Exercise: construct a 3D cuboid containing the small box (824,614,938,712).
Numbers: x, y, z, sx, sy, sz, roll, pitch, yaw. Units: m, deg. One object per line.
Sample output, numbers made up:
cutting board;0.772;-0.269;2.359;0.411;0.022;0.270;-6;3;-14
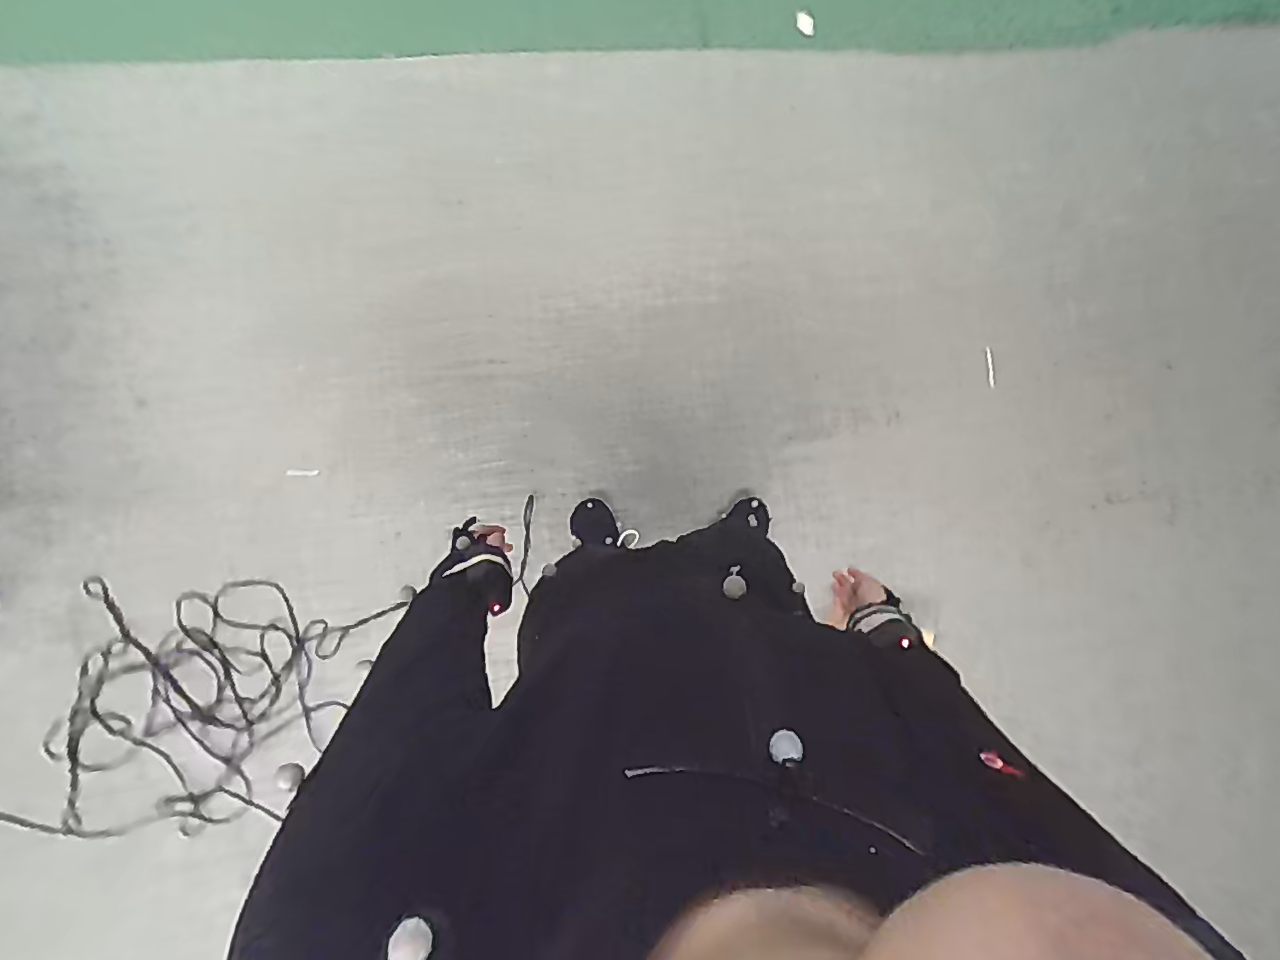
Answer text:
small box;0.575;0.434;1.309;0.179;0.176;0.168;14;87;-4
